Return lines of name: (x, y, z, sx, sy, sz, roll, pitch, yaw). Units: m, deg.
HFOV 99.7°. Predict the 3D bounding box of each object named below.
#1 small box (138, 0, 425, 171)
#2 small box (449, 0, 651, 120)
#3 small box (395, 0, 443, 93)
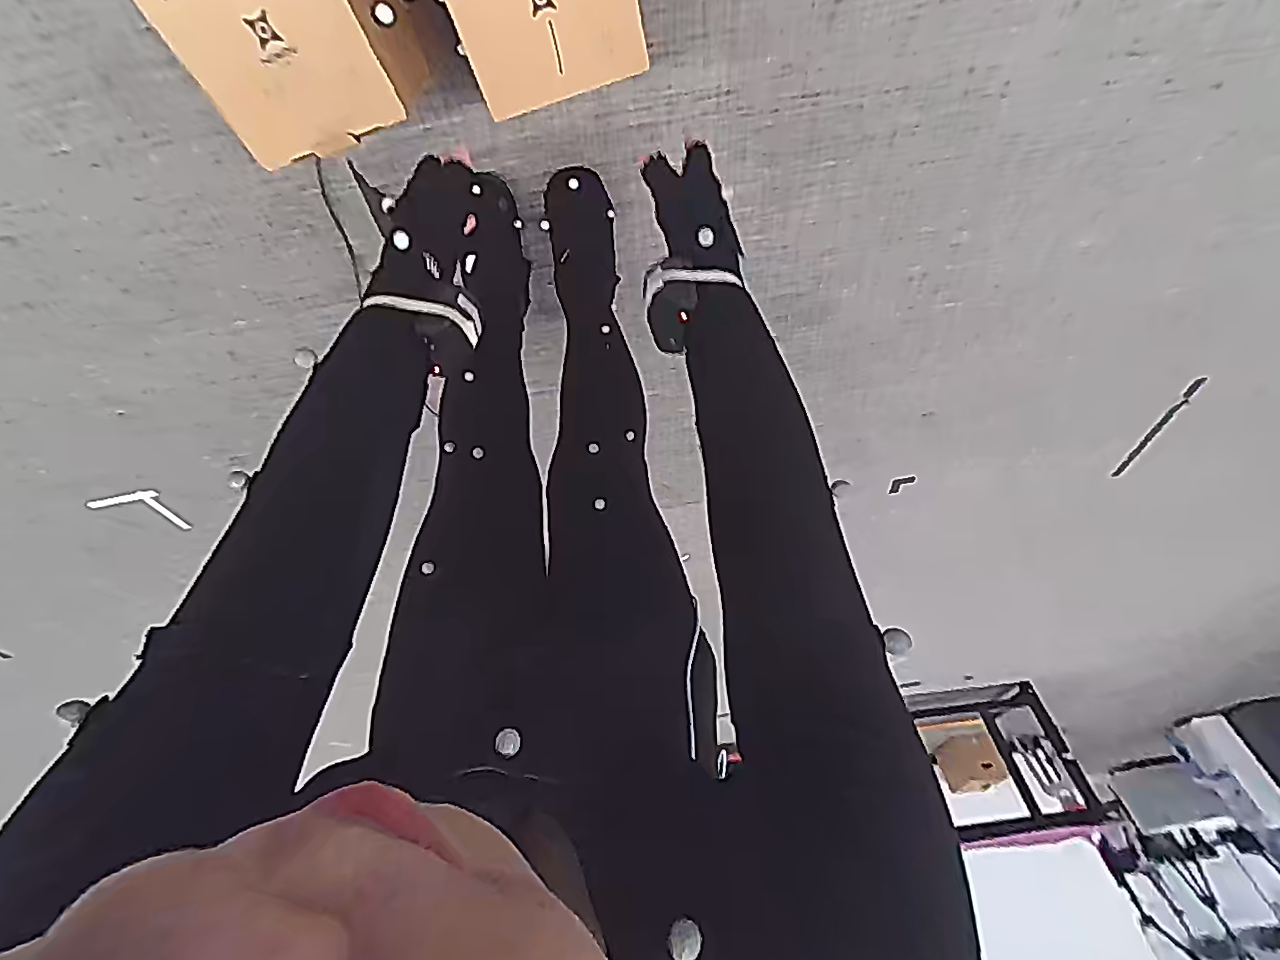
small box: (-0.335, -0.449, 0.531, 0.168, 0.176, 0.179, -16, 140, 7)
small box: (-0.096, -0.492, 0.521, 0.168, 0.176, 0.179, -14, 140, 7)
small box: (-0.353, -0.569, 0.642, 0.168, 0.176, 0.179, -13, 139, 4)
